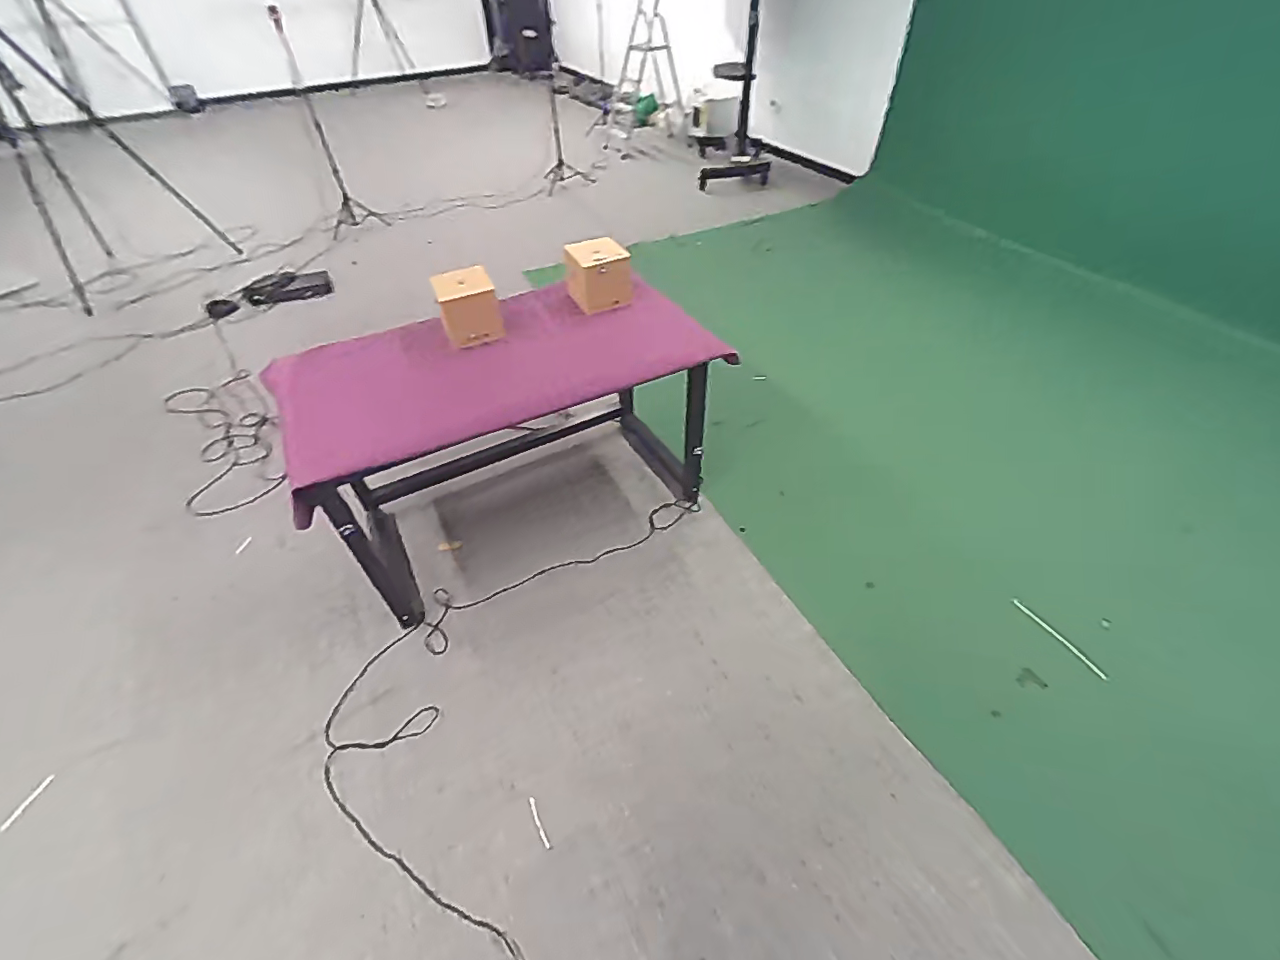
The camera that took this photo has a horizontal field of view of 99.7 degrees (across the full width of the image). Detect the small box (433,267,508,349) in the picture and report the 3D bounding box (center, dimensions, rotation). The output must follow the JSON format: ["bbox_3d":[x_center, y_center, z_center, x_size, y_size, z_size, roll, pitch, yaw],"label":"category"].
[{"bbox_3d":[-0.522,-0.531,1.672,0.168,0.176,0.179,-20,49,-16],"label":"small box"}]

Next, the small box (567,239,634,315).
[{"bbox_3d":[-0.129,-0.675,1.796,0.168,0.176,0.179,-21,49,-17],"label":"small box"}]
